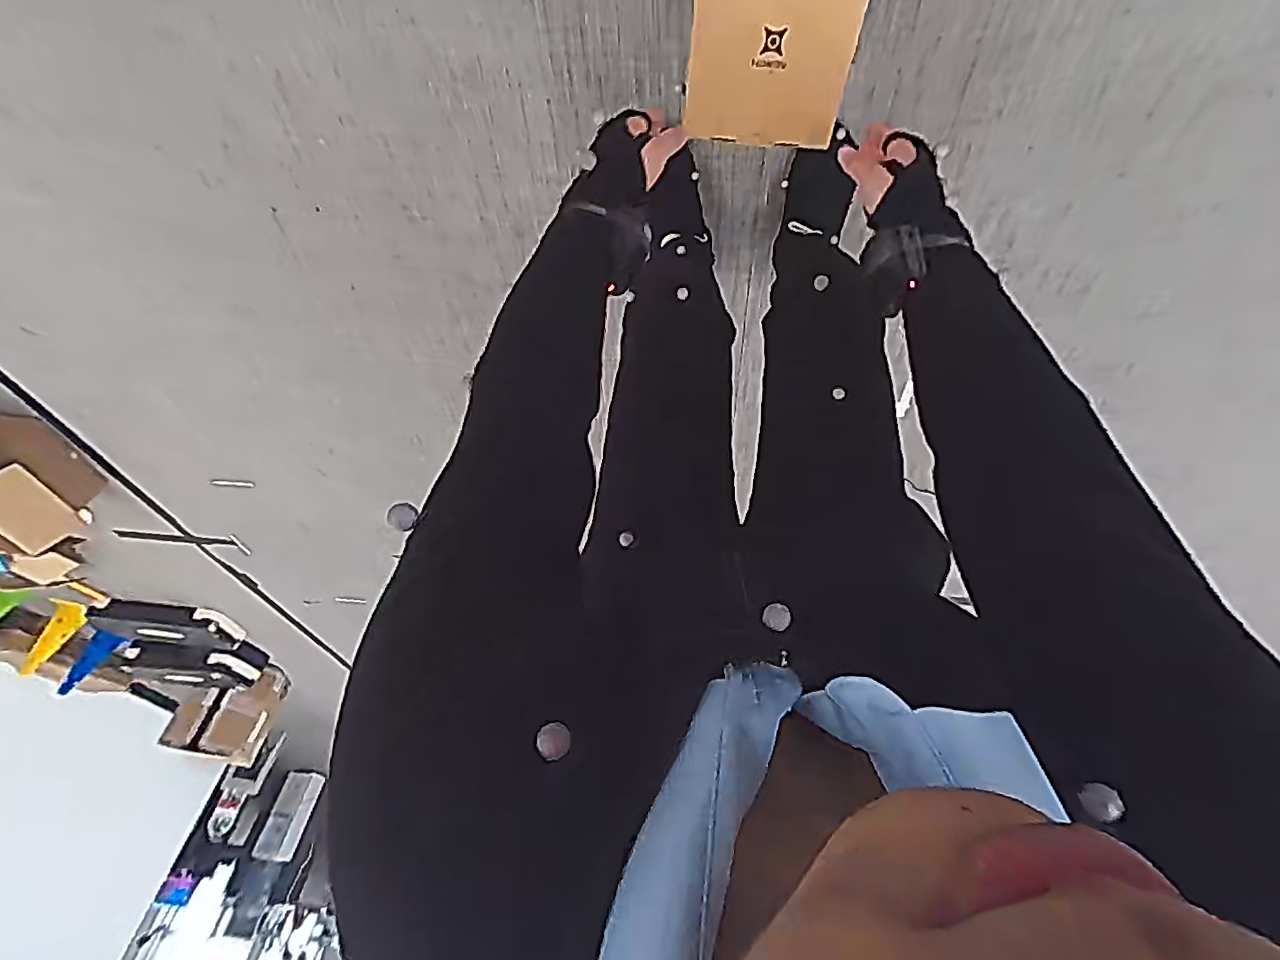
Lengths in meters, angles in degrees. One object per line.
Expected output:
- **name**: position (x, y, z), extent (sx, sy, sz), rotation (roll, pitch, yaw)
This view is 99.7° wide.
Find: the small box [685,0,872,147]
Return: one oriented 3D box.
- **small box**: position (0.142, -0.494, 0.586), extent (0.168, 0.176, 0.179), rotation (6, 140, 2)
